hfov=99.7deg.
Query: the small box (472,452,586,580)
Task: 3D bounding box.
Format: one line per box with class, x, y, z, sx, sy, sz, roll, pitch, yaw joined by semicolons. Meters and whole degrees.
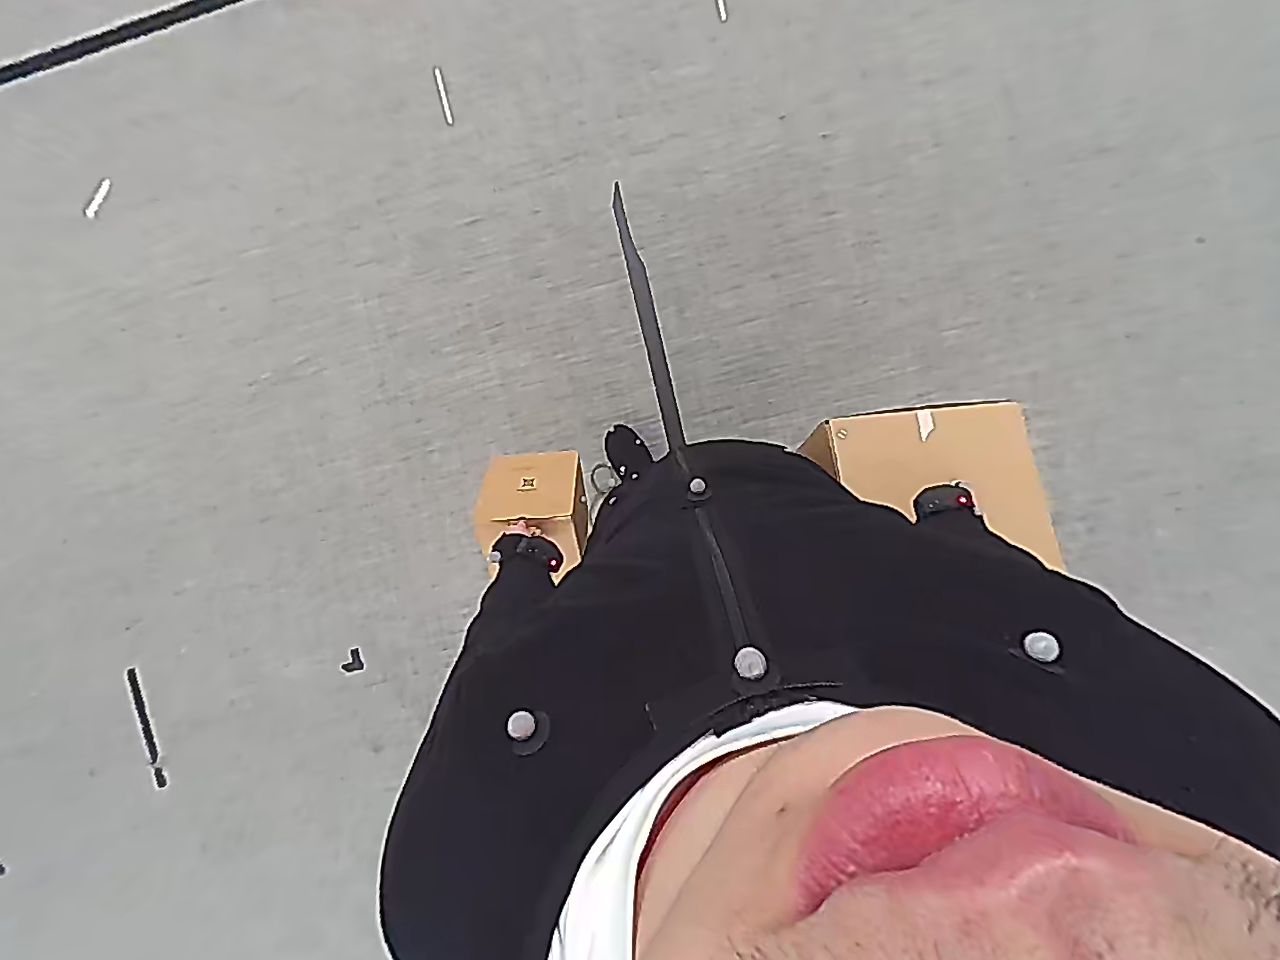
small box;-0.190;0.071;0.988;0.168;0.179;0.176;-3;131;0
